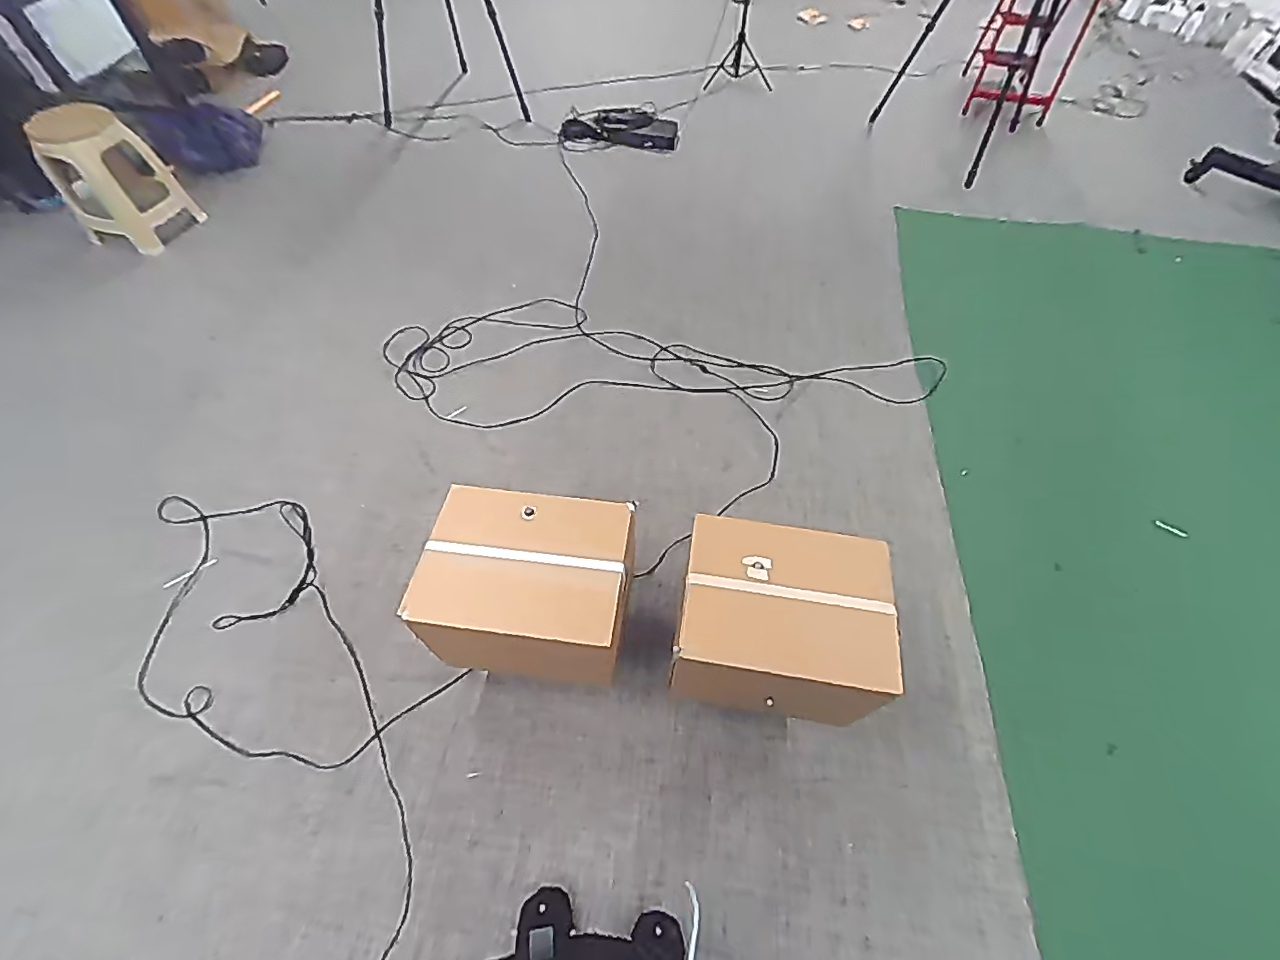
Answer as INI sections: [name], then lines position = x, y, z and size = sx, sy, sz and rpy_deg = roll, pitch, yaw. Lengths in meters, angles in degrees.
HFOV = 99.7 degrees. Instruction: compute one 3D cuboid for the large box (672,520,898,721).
[large box]
position = 0.295, 0.318, 1.195
size = 0.408, 0.320, 0.320
rpy_deg = 8, 56, 5
